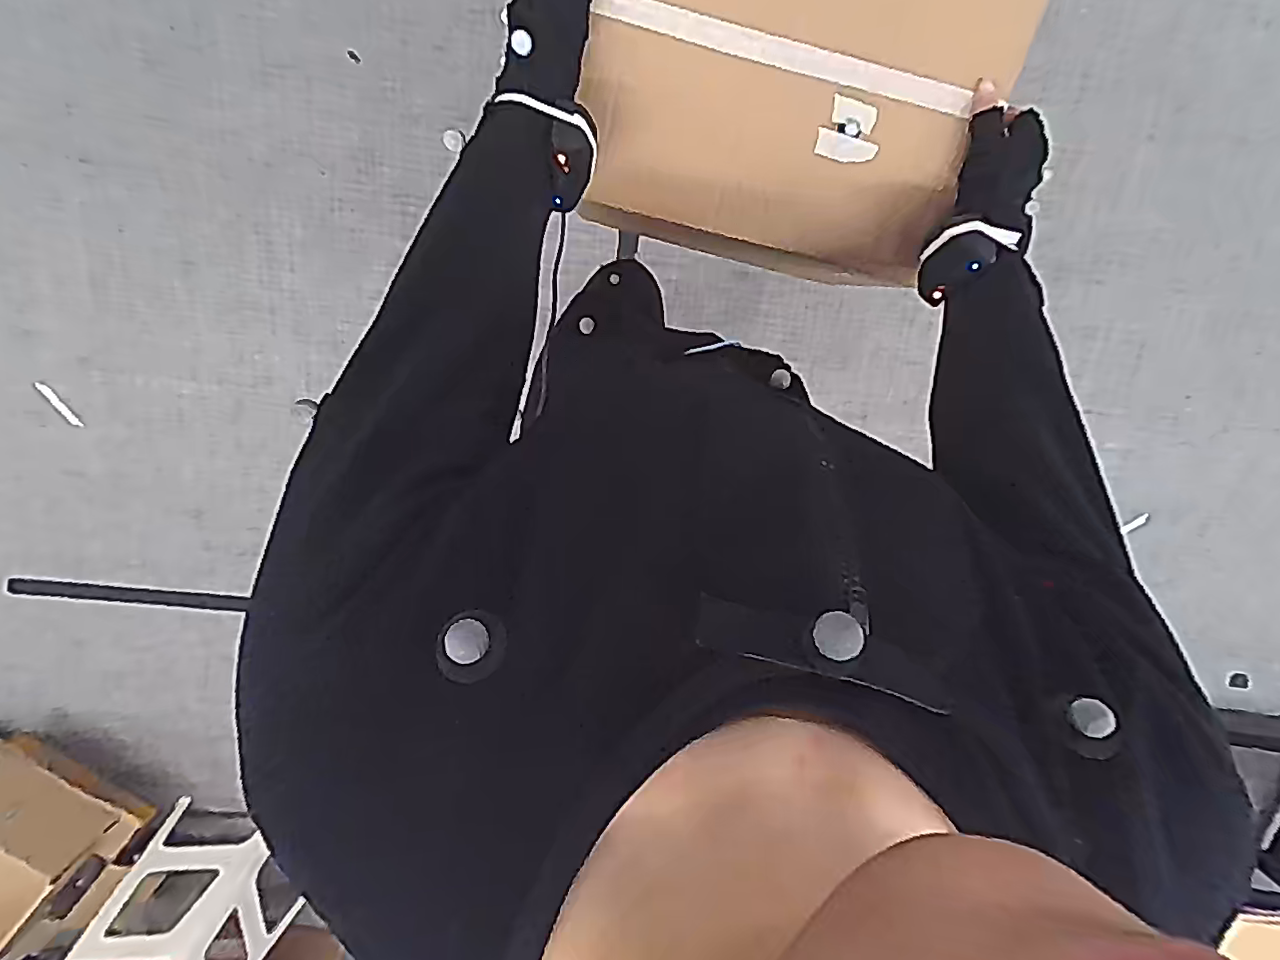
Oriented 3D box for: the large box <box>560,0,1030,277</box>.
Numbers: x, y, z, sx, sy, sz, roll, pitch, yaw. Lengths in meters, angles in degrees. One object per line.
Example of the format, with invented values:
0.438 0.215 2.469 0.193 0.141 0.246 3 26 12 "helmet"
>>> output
0.139 -0.446 0.648 0.408 0.320 0.320 12 111 -6 "large box"
